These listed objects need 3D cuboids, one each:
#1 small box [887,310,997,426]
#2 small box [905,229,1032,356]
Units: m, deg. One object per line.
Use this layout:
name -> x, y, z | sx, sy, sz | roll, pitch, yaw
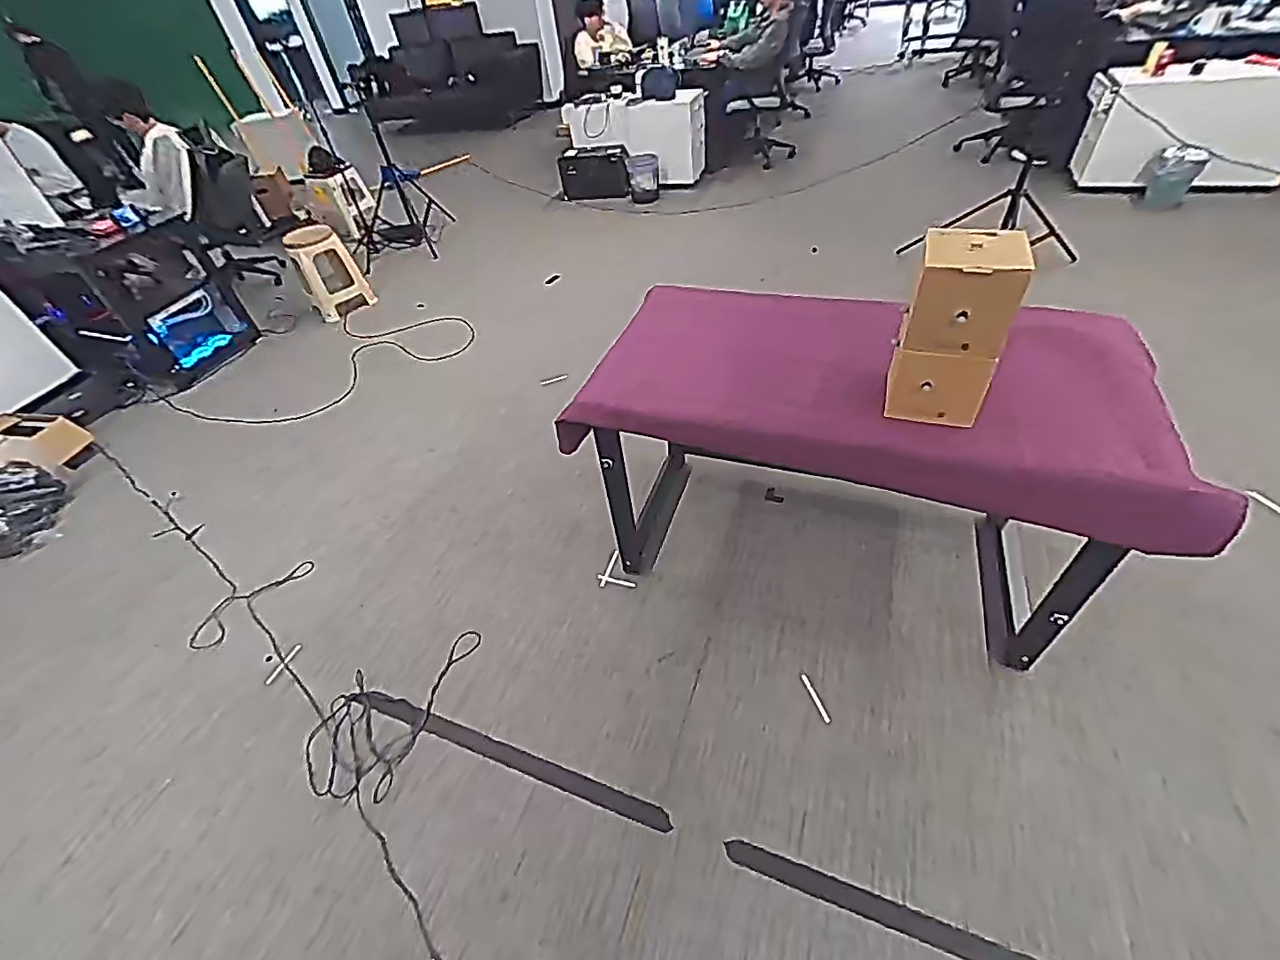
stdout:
small box -> 0.621, -0.233, 1.127 | 0.168, 0.176, 0.179 | 11, 47, 19
small box -> 0.606, -0.351, 1.015 | 0.168, 0.176, 0.179 | 12, 48, 20
